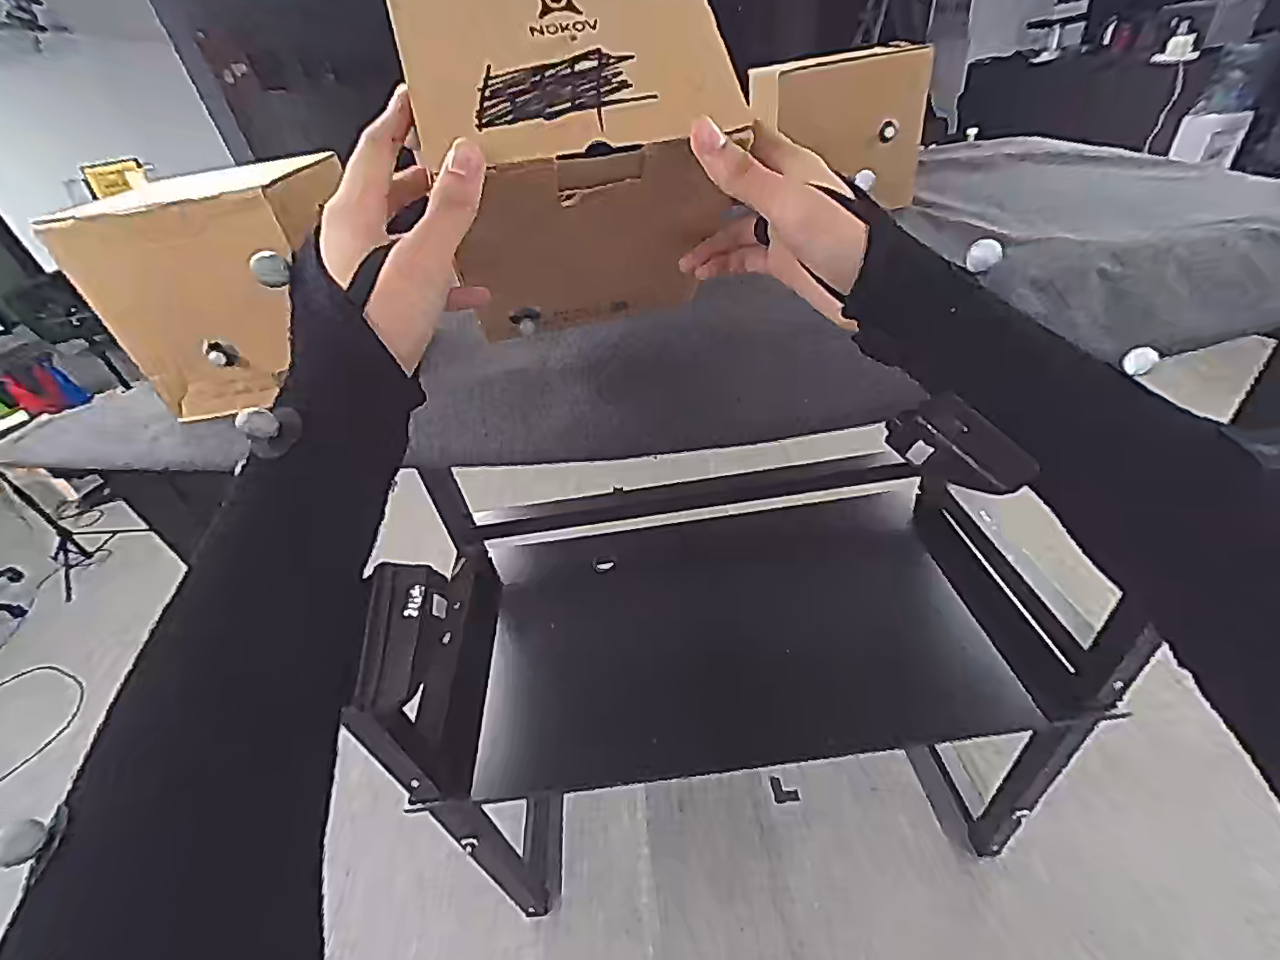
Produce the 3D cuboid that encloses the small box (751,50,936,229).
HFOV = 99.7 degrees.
[{"bbox_3d":[0.247,-0.445,0.708,0.179,0.176,0.168,-7,37,3],"label":"small box"}]

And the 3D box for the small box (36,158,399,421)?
[{"bbox_3d":[-0.342,-0.175,0.491,0.168,0.176,0.179,-11,39,-2],"label":"small box"}]

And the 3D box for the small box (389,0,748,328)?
[{"bbox_3d":[-0.051,-0.219,0.358,0.168,0.176,0.179,-14,78,-10],"label":"small box"}]
